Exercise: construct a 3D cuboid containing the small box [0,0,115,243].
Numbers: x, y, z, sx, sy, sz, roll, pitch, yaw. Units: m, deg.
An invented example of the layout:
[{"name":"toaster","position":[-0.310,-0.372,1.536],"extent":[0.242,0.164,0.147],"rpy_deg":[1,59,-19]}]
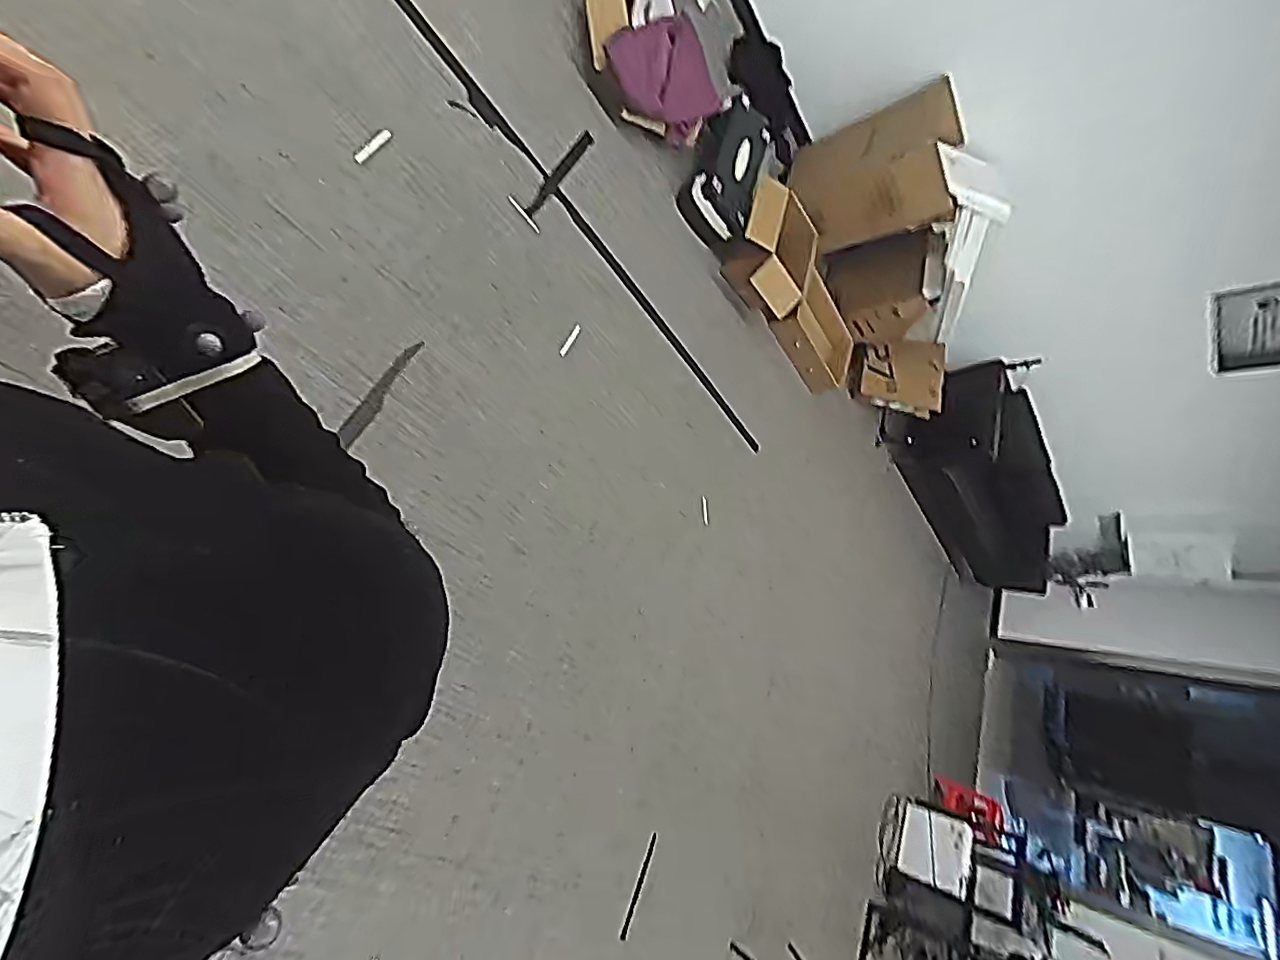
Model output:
[{"name":"small box","position":[-0.296,-0.178,0.162],"extent":[0.168,0.176,0.179],"rpy_deg":[-14,116,-46]}]
